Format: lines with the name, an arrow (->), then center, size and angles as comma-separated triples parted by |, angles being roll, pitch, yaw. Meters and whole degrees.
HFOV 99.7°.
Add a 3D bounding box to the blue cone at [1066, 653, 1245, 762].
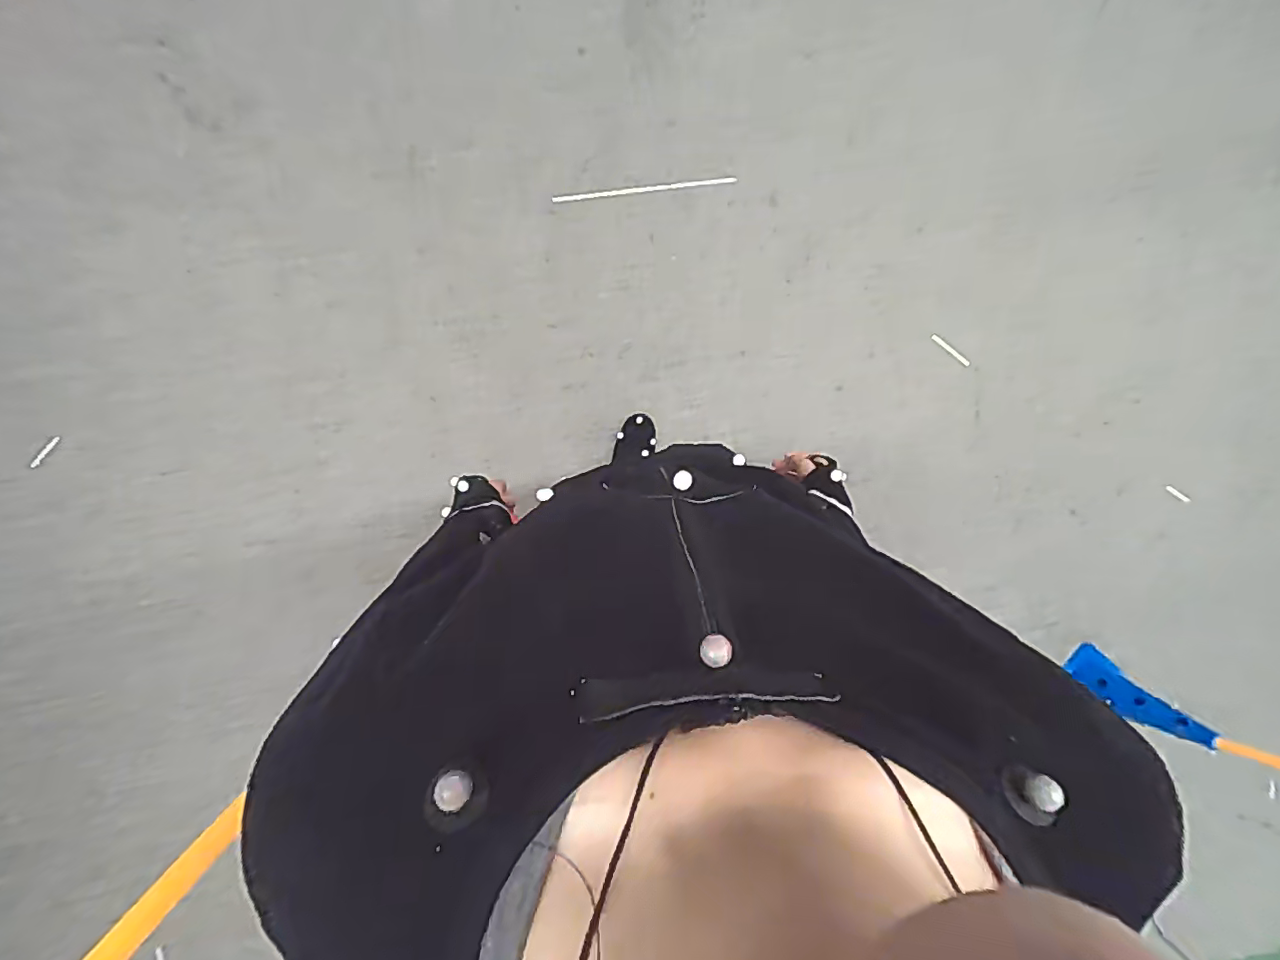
blue cone -> 1.430, 0.653, 1.497 | 0.192, 0.380, 0.193 | 36, 89, -6
